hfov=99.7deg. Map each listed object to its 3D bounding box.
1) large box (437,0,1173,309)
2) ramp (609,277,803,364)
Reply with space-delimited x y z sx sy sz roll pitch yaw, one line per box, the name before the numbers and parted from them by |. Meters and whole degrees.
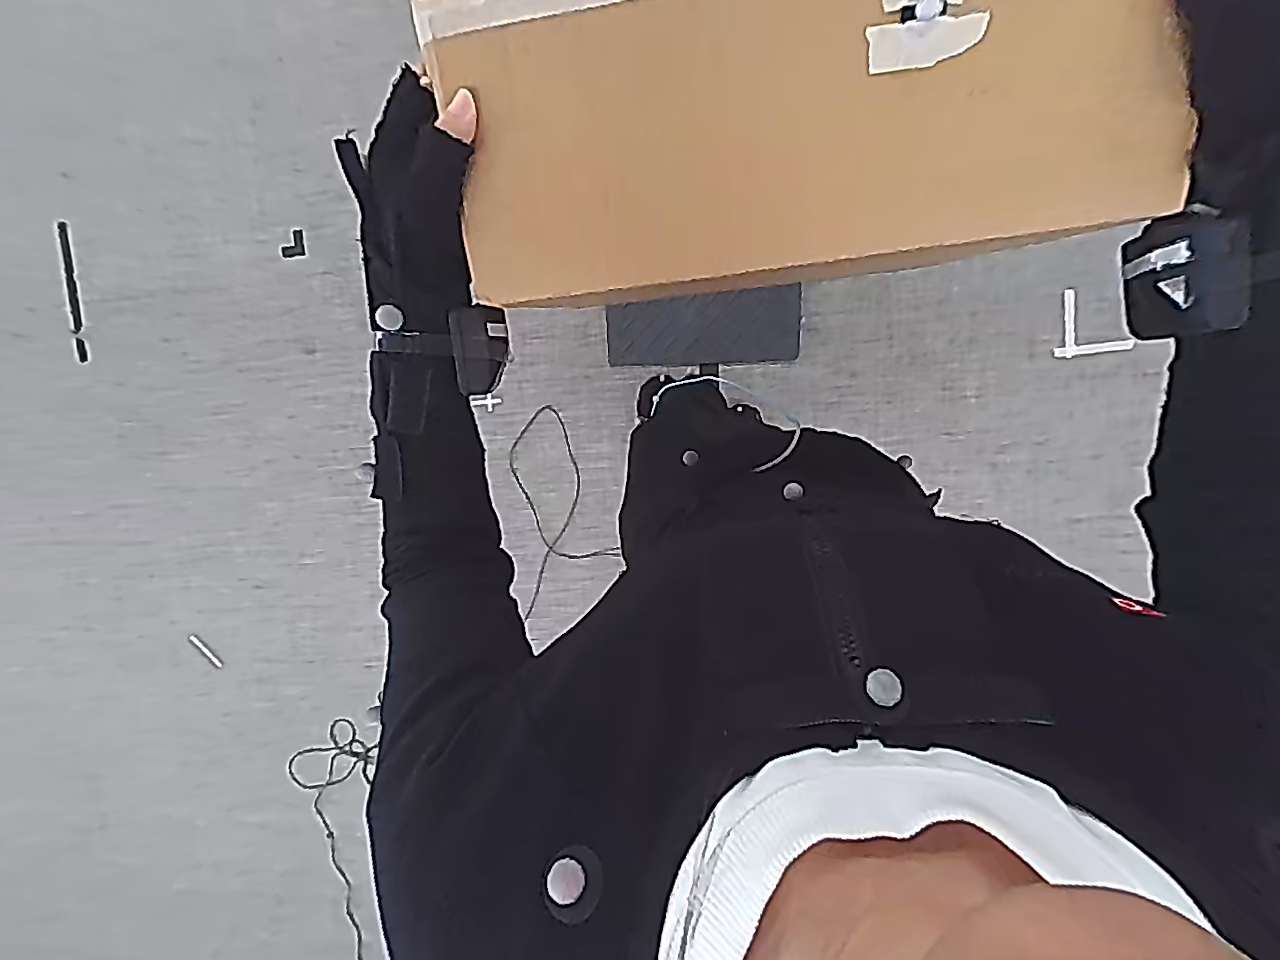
large box | 0.090 -0.328 0.437 0.408 0.320 0.320 -5 107 8
ramp | 0.144 -0.786 1.263 0.509 0.206 0.991 -2 98 7
